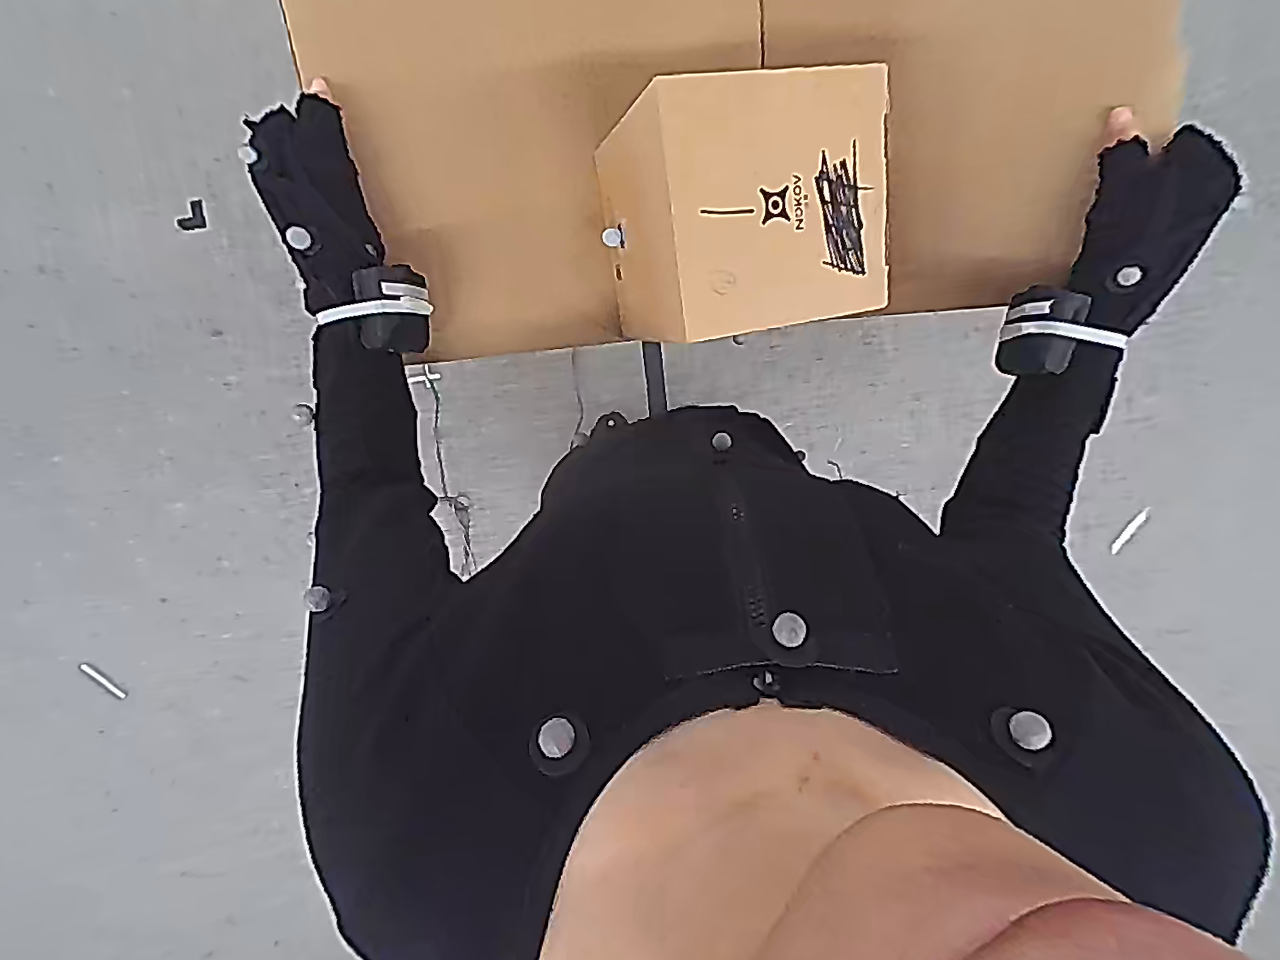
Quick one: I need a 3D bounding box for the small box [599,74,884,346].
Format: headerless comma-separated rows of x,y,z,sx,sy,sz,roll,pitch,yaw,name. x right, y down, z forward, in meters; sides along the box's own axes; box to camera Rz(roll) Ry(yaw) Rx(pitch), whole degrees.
0.078,-0.213,0.459,0.179,0.176,0.168,-14,109,-14,small box
